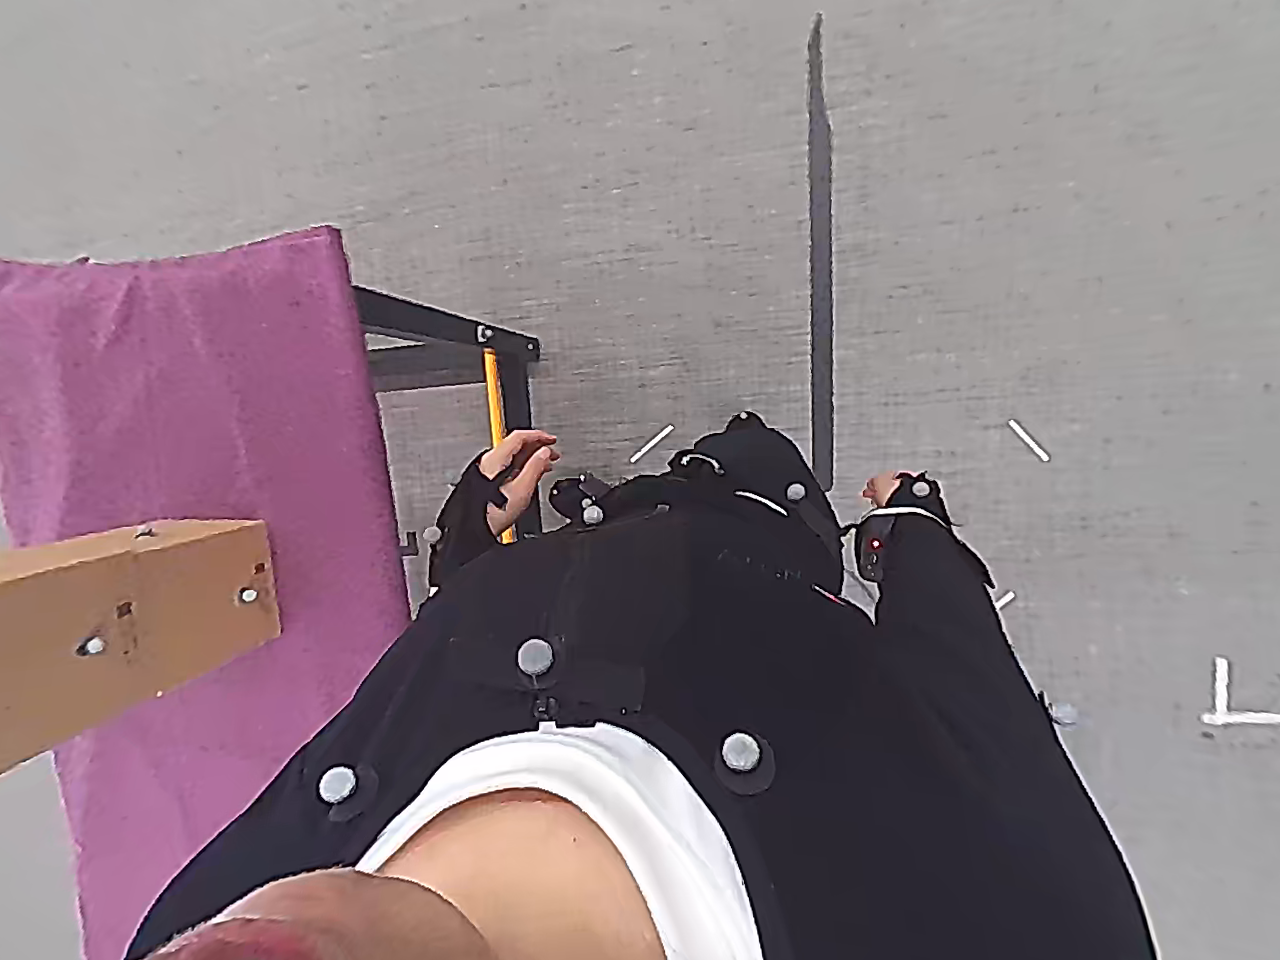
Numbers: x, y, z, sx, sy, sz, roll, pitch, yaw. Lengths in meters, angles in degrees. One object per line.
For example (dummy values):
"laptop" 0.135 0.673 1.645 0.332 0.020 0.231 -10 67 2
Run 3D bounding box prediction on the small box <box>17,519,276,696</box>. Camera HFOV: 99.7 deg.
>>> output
"small box" -0.601 0.146 0.673 0.179 0.176 0.168 -1 98 9

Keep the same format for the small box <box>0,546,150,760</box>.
"small box" -0.628 0.163 0.511 0.179 0.176 0.168 -1 99 9
